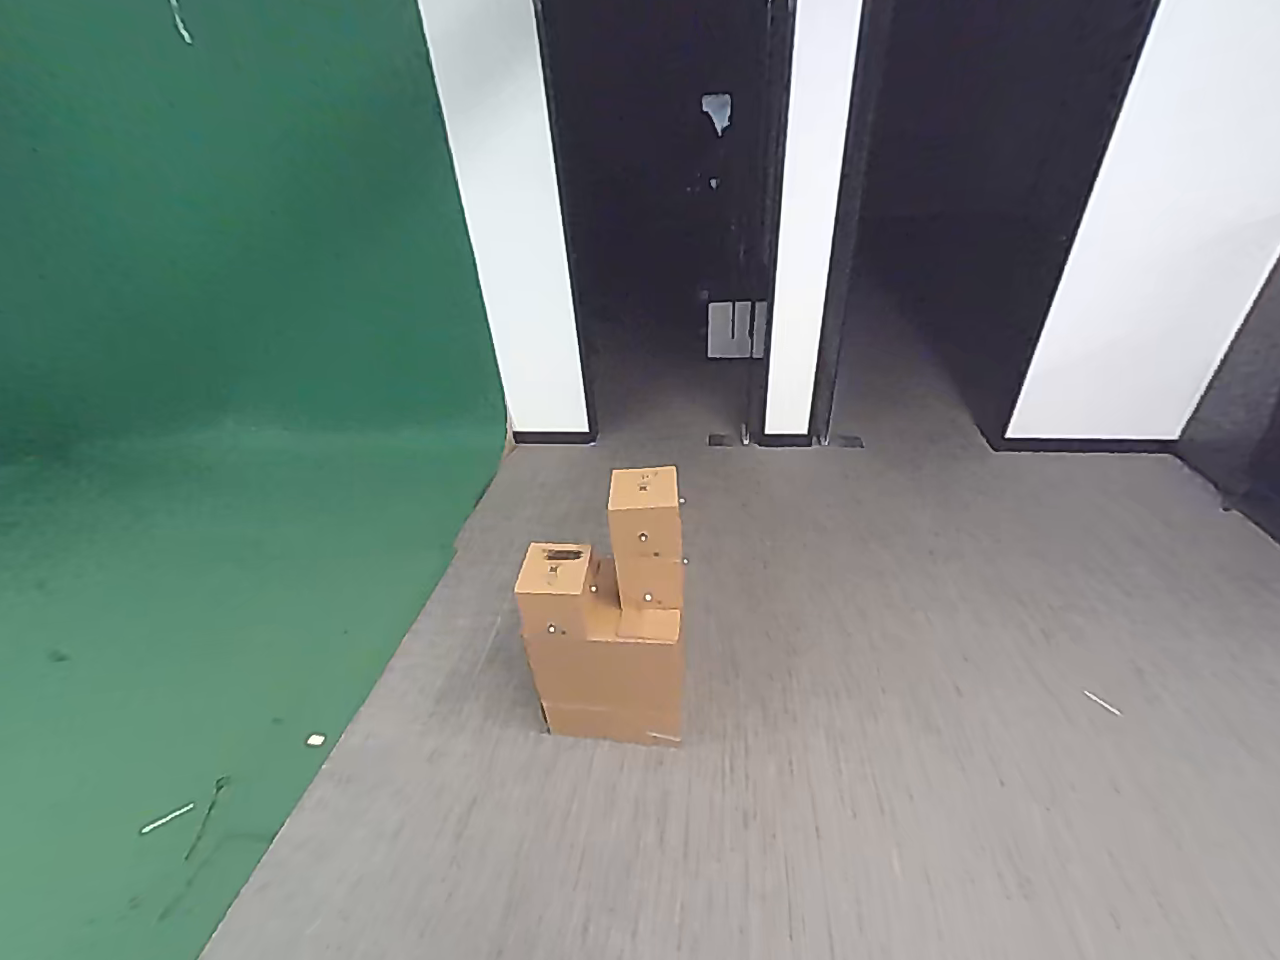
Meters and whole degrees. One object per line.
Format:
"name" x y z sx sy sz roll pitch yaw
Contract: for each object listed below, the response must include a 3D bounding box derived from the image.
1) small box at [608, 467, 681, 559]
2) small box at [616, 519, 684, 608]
"small box" 0.017 0.087 1.368 0.168 0.176 0.179 -2 33 4
"small box" 0.033 0.223 1.460 0.168 0.176 0.179 -2 35 7
